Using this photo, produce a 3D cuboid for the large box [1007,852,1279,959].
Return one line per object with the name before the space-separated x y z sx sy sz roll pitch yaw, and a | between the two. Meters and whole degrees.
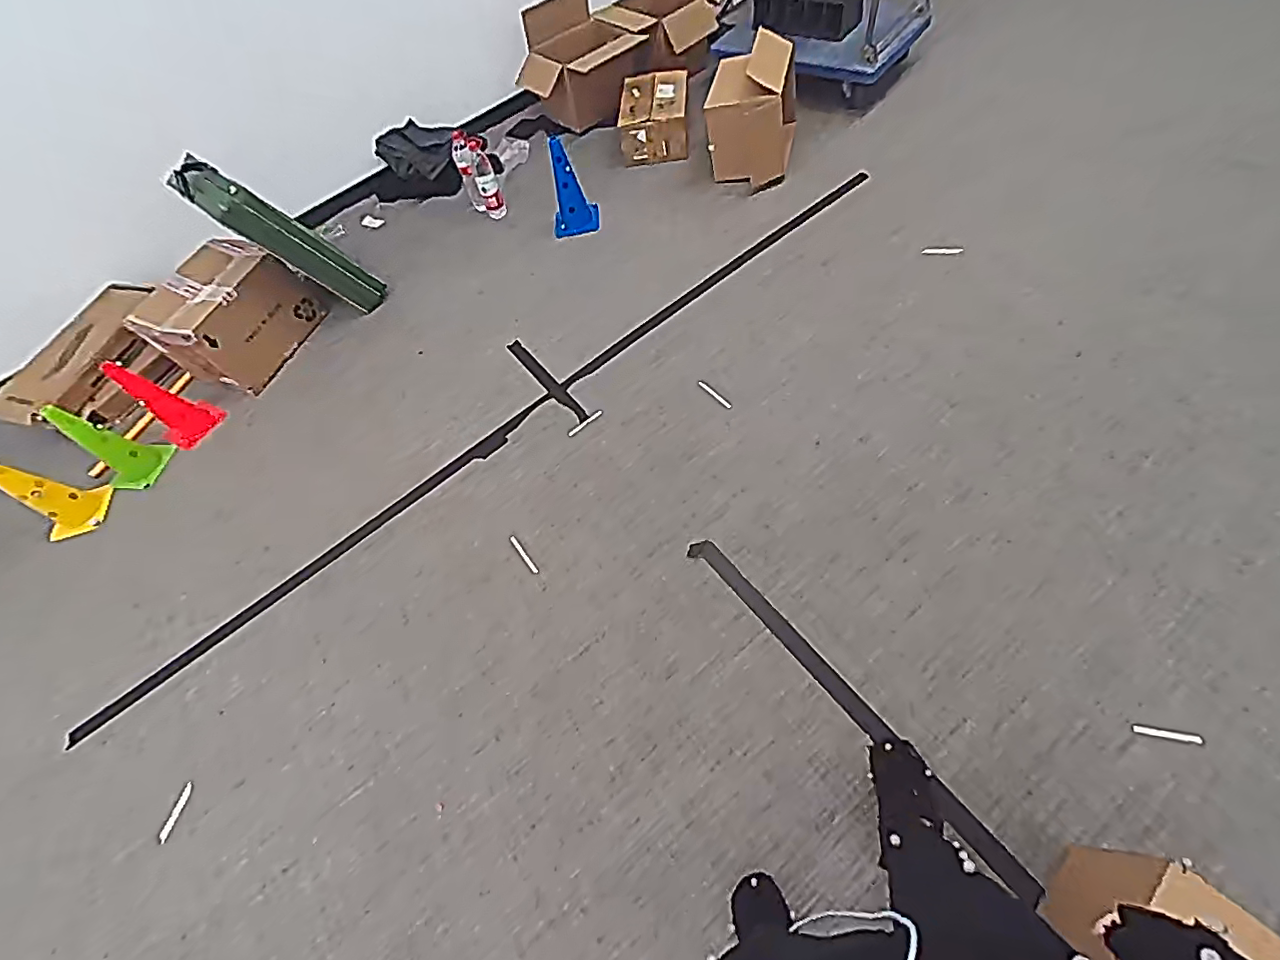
large box | 0.784 0.863 0.815 0.320 0.320 0.408 38 71 27
